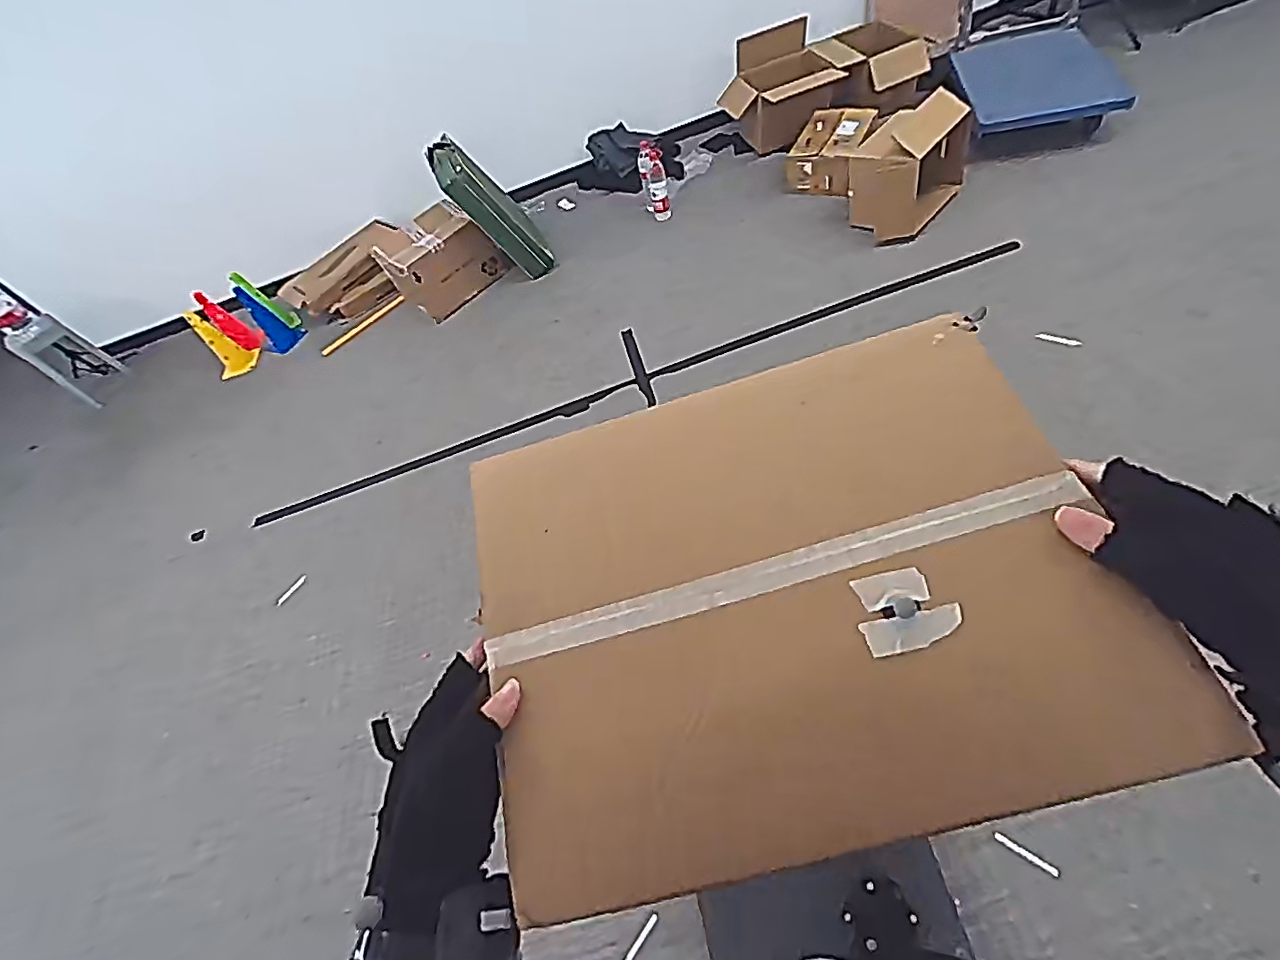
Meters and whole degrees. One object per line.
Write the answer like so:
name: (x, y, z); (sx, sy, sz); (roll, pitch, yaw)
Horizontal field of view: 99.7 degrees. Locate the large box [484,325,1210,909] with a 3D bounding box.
large box: (0.118, 0.127, 0.507); (0.408, 0.320, 0.320); (-17, 63, 4)
